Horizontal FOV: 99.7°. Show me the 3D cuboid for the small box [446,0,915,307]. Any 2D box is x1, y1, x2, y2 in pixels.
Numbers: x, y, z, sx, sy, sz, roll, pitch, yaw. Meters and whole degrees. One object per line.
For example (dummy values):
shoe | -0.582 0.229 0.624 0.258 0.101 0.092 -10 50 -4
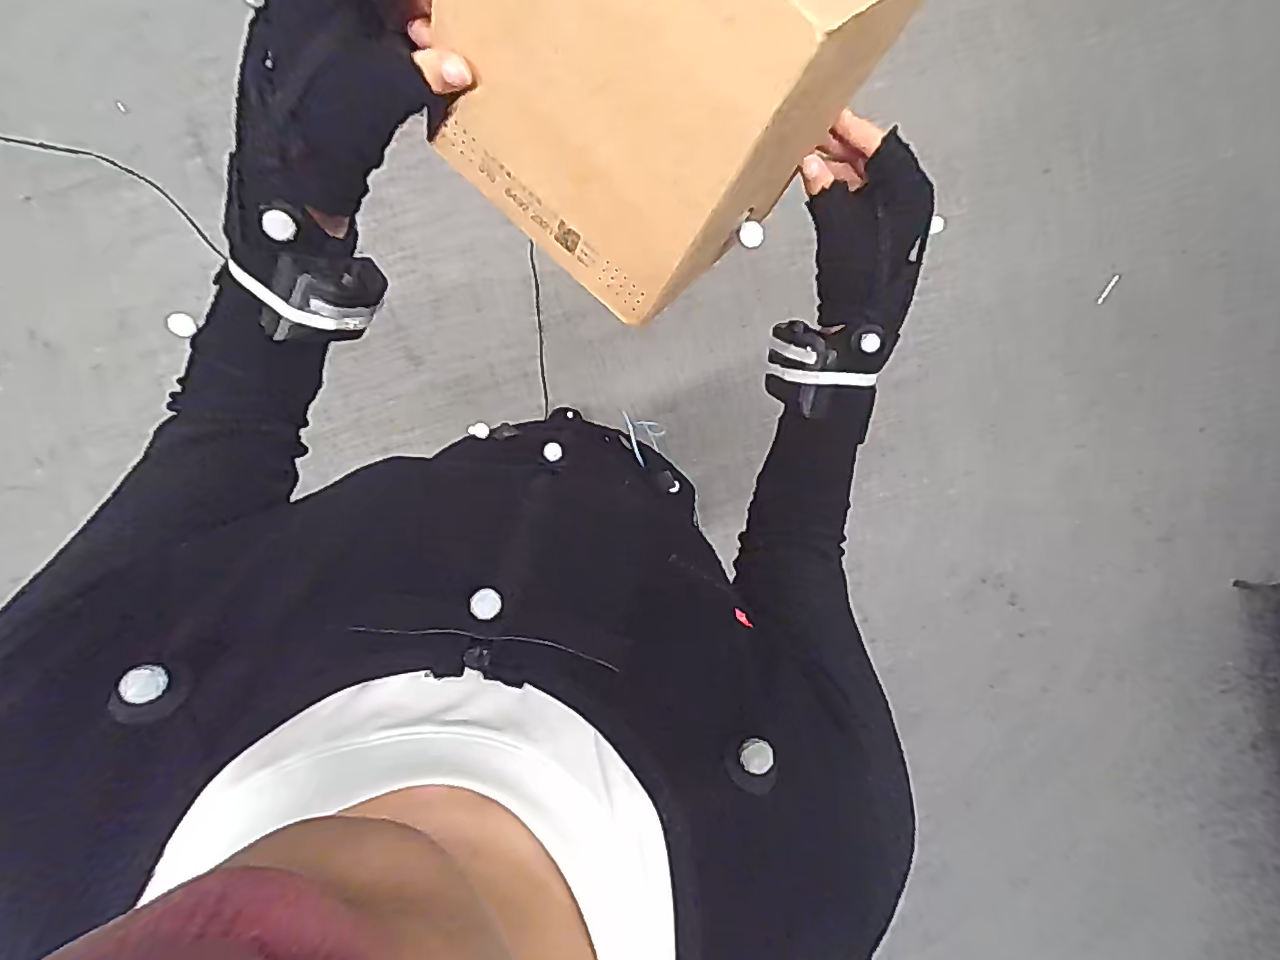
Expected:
small box | 0.016 -0.235 0.296 0.168 0.176 0.179 42 58 -2
